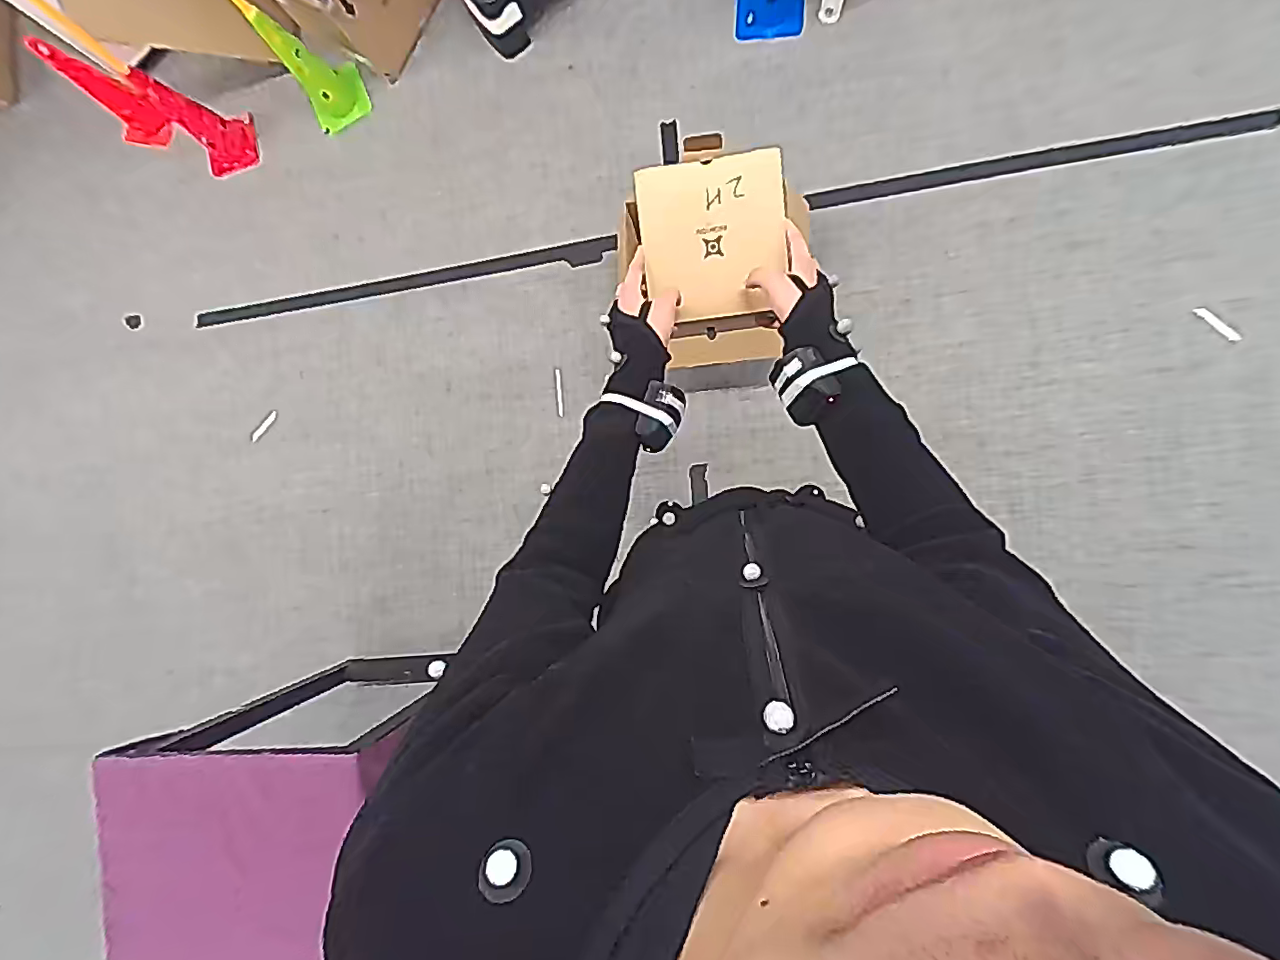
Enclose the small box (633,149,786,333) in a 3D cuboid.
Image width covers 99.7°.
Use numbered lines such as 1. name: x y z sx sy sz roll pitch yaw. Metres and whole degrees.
1. small box: 0.087 -0.290 0.699 0.168 0.176 0.179 -6 98 4
